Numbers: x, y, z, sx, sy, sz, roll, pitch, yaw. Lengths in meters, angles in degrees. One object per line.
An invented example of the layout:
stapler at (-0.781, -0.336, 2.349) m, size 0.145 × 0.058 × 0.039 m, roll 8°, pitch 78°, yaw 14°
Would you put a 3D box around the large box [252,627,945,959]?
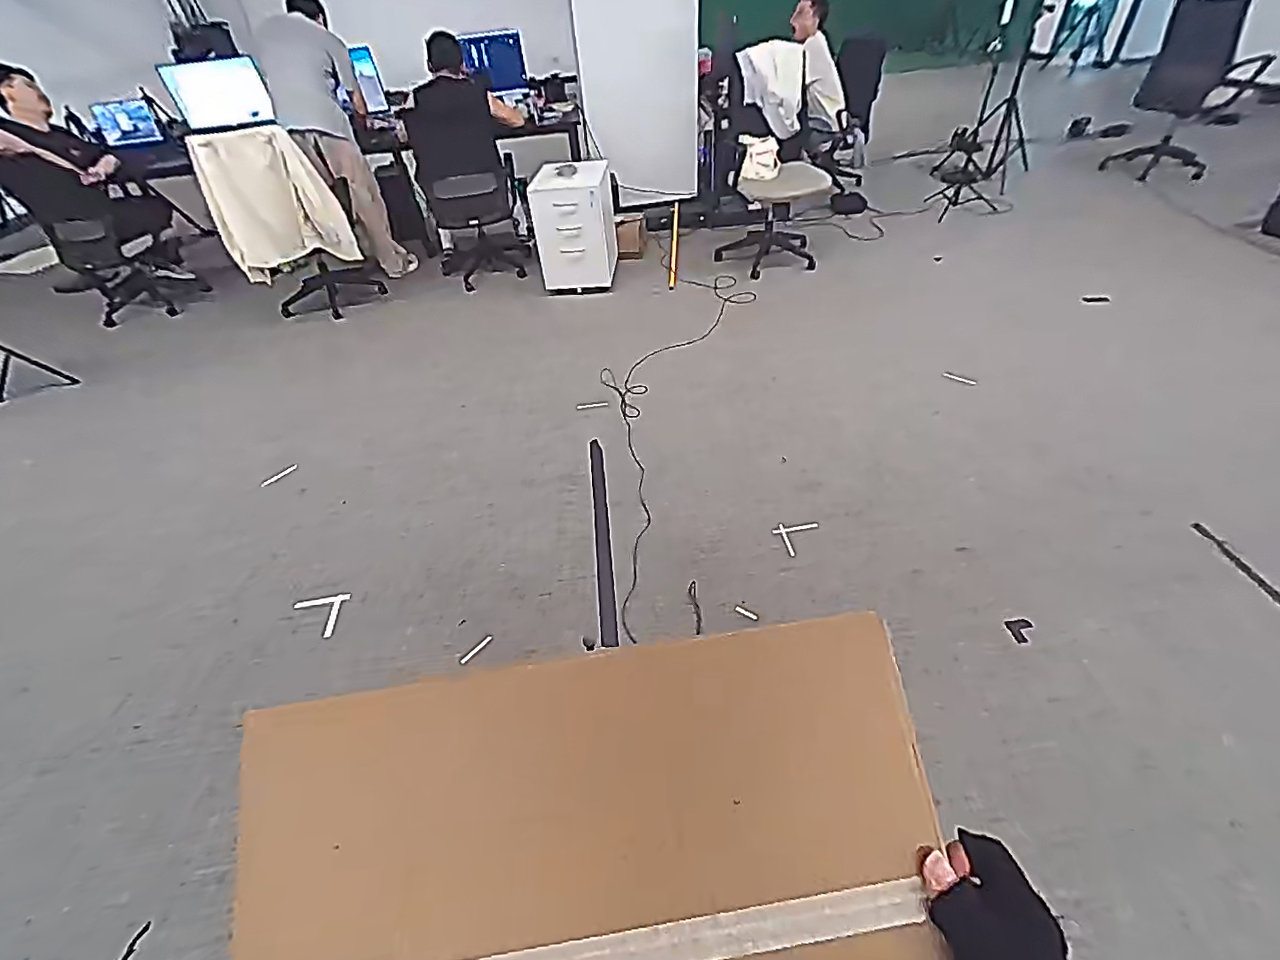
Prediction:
large box at (-0.022, 0.316, 0.457) m, size 0.408 × 0.320 × 0.320 m, roll -9°, pitch 74°, yaw -2°
